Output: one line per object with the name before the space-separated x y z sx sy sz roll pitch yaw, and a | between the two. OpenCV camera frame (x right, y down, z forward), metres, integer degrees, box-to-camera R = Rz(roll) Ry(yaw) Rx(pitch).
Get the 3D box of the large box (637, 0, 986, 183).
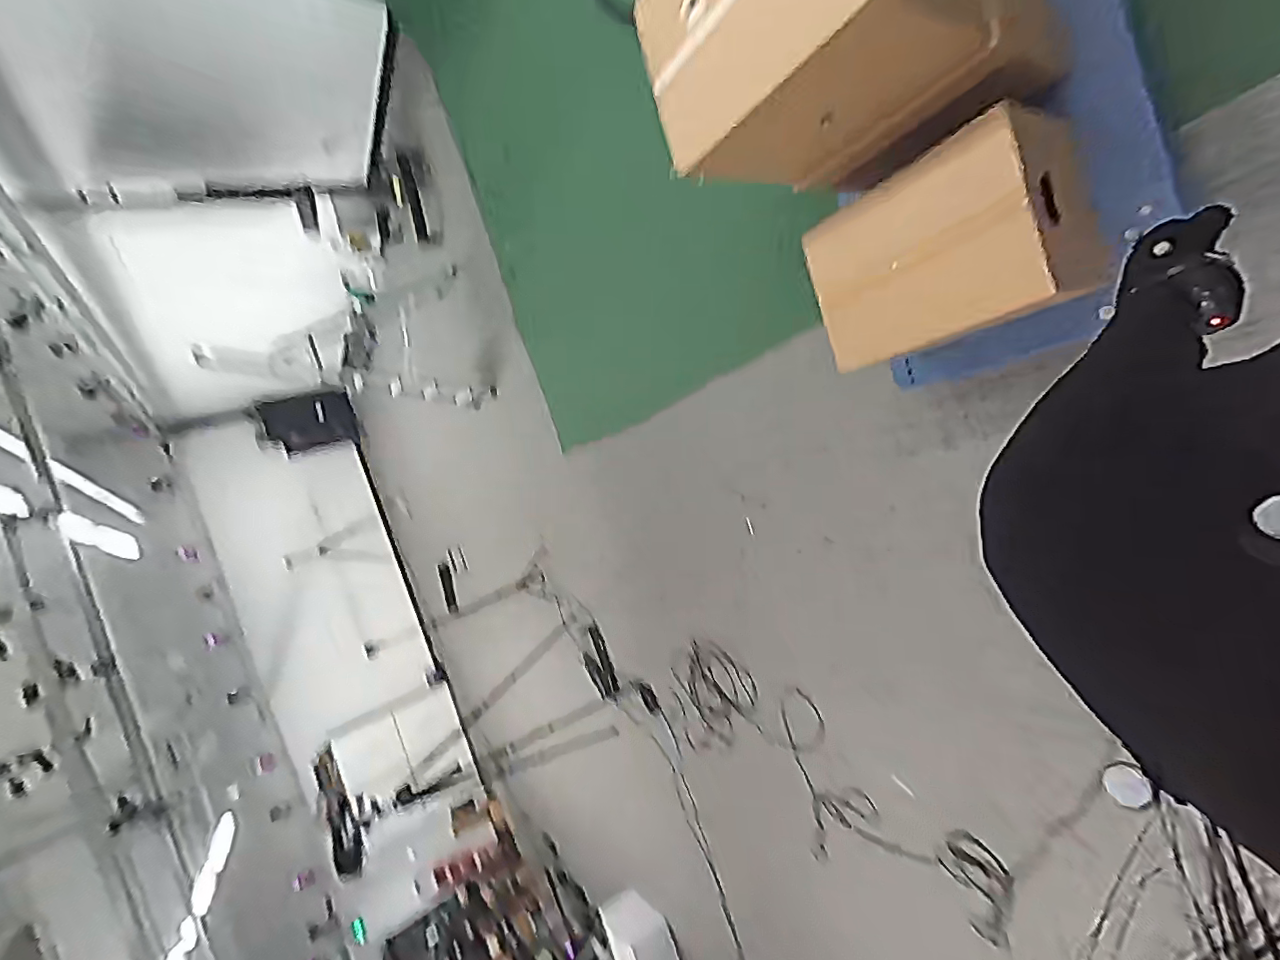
large box | 0.258 -0.751 0.889 0.408 0.320 0.320 -11 95 58
